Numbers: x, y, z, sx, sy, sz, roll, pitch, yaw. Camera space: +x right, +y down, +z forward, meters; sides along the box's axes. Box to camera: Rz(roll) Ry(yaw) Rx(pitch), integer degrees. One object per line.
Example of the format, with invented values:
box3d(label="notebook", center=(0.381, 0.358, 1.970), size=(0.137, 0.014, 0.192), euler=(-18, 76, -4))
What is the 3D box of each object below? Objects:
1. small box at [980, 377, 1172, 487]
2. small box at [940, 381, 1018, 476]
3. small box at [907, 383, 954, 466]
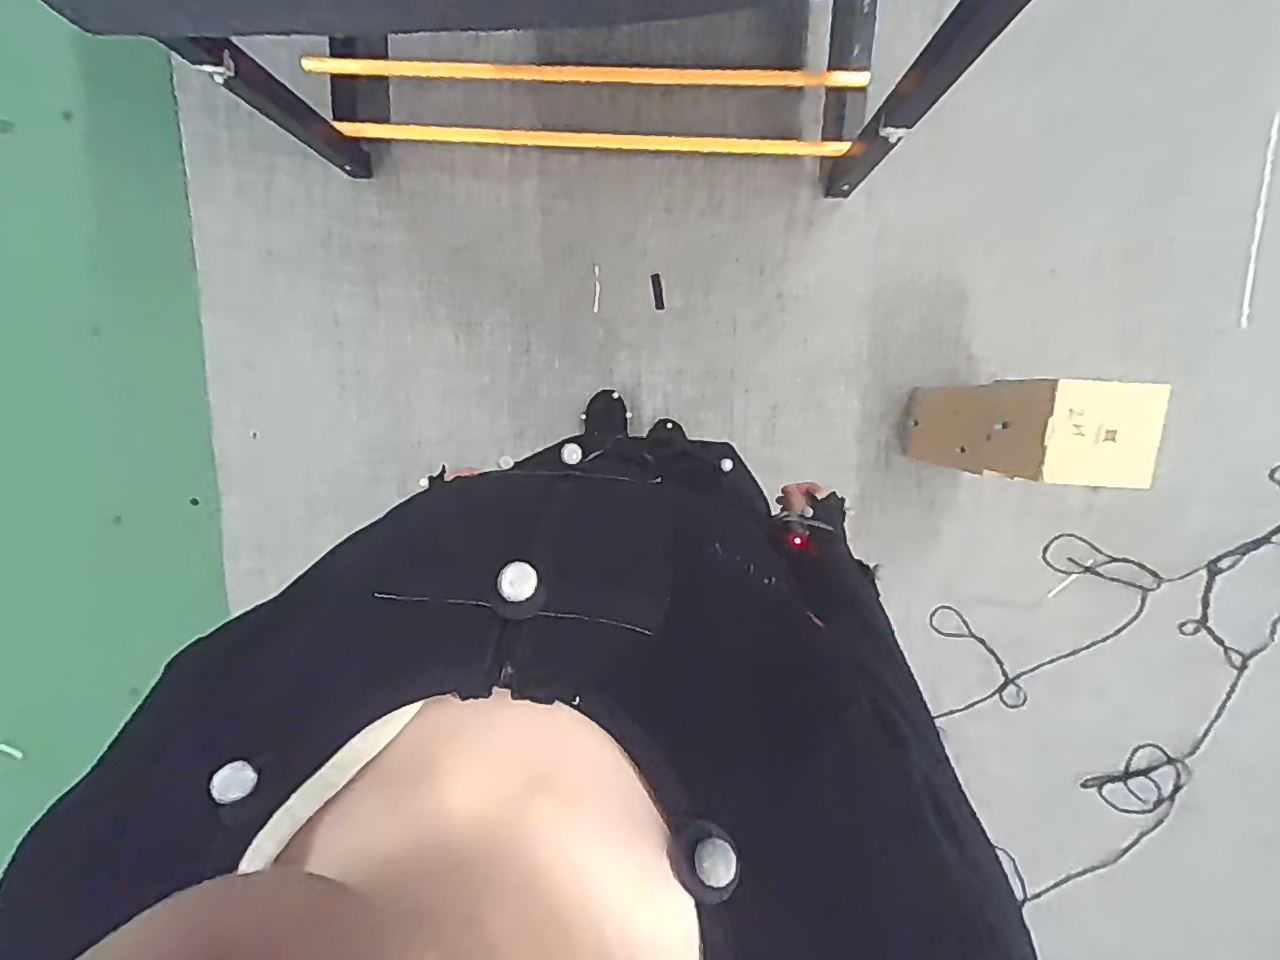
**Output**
box3d(label="small box", center=(0.724, -0.087, 0.918), size=(0.179, 0.176, 0.168), euler=(3, 99, 1))
box3d(label="small box", center=(0.729, -0.105, 1.082), size=(0.168, 0.176, 0.179), euler=(2, 98, 1))
box3d(label="small box", center=(0.739, -0.128, 1.243), size=(0.168, 0.176, 0.179), euler=(4, 100, 1))
